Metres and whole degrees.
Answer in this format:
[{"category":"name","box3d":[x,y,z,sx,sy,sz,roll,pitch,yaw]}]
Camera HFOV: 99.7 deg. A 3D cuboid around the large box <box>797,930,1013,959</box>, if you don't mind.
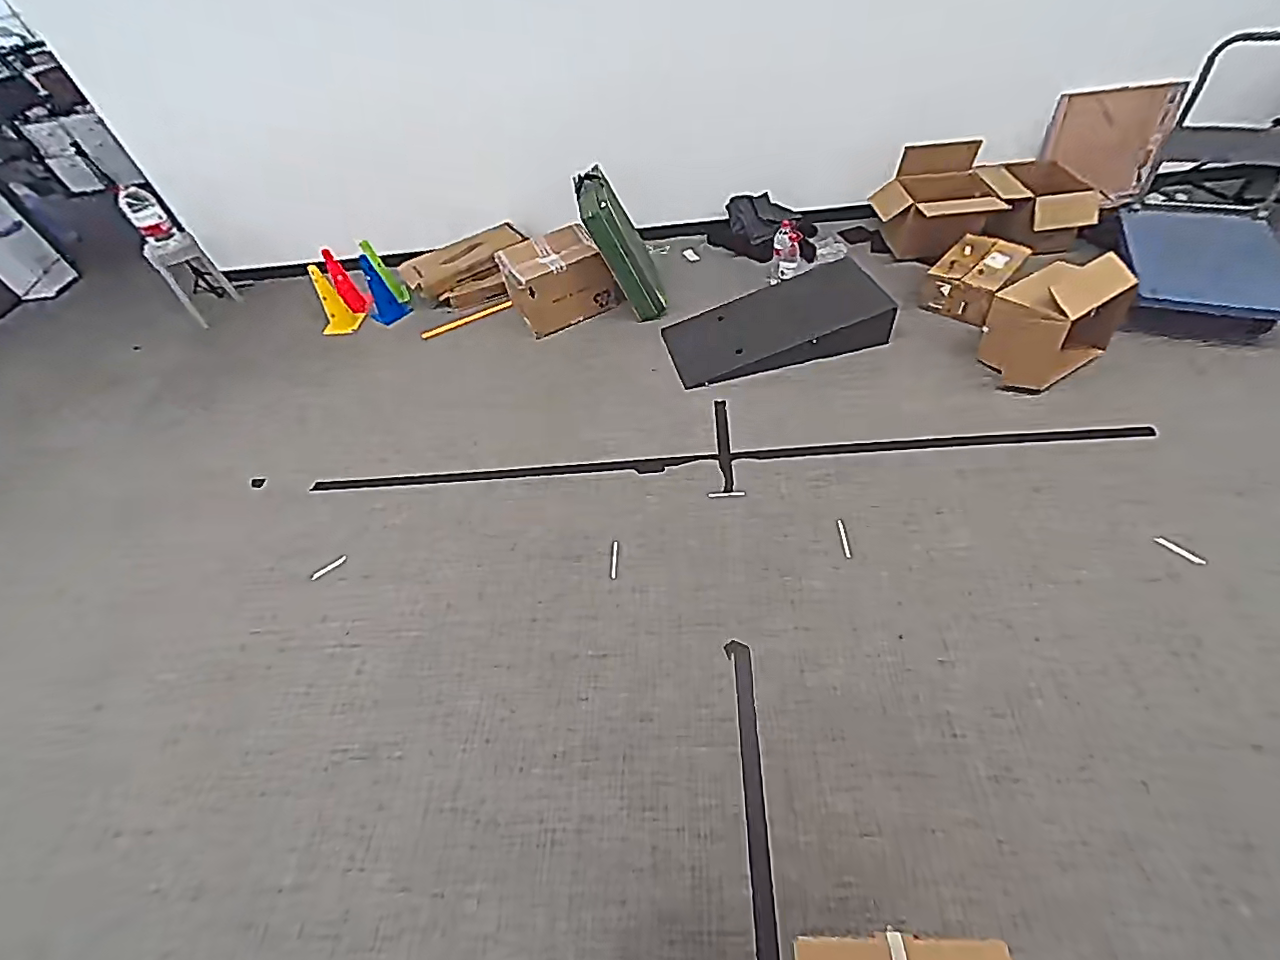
[{"category":"large box","box3d":[0.431,0.952,0.822,0.320,0.320,0.408,-8,50,11]}]
